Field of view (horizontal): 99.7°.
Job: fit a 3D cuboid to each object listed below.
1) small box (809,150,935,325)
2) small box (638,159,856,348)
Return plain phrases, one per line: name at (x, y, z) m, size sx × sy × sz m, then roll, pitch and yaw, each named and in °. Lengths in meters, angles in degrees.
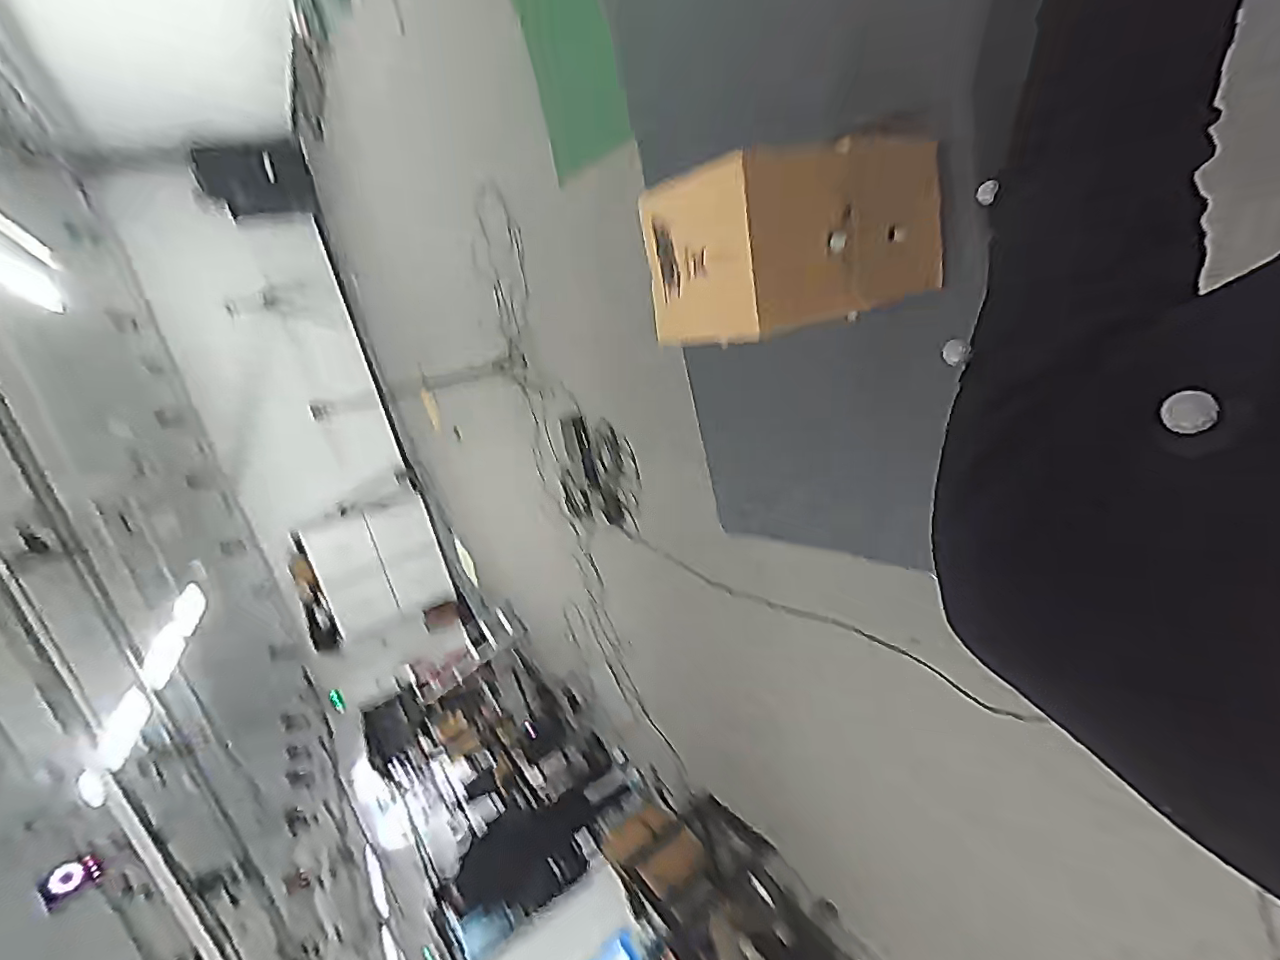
small box at (0.261, -0.307, 0.708) m, size 0.168 × 0.176 × 0.179 m, roll 14°, pitch 121°, yaw 57°
small box at (0.123, -0.256, 0.633) m, size 0.179 × 0.176 × 0.168 m, roll 15°, pitch 122°, yaw 59°
